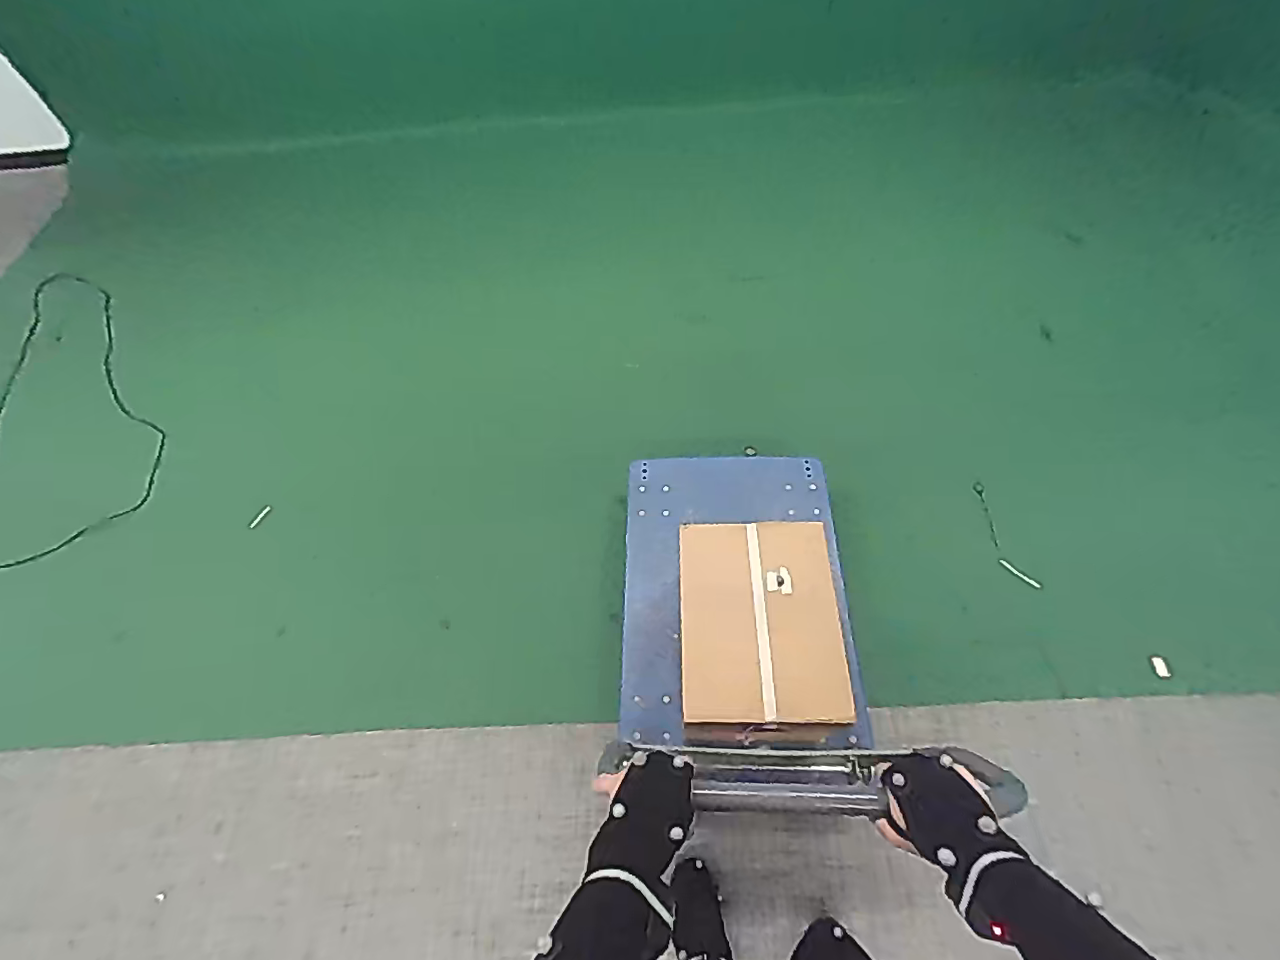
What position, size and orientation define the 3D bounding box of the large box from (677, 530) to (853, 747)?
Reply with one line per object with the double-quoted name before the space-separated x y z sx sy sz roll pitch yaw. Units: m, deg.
"large box" 0.249 0.363 1.216 0.320 0.320 0.408 -1 58 4
